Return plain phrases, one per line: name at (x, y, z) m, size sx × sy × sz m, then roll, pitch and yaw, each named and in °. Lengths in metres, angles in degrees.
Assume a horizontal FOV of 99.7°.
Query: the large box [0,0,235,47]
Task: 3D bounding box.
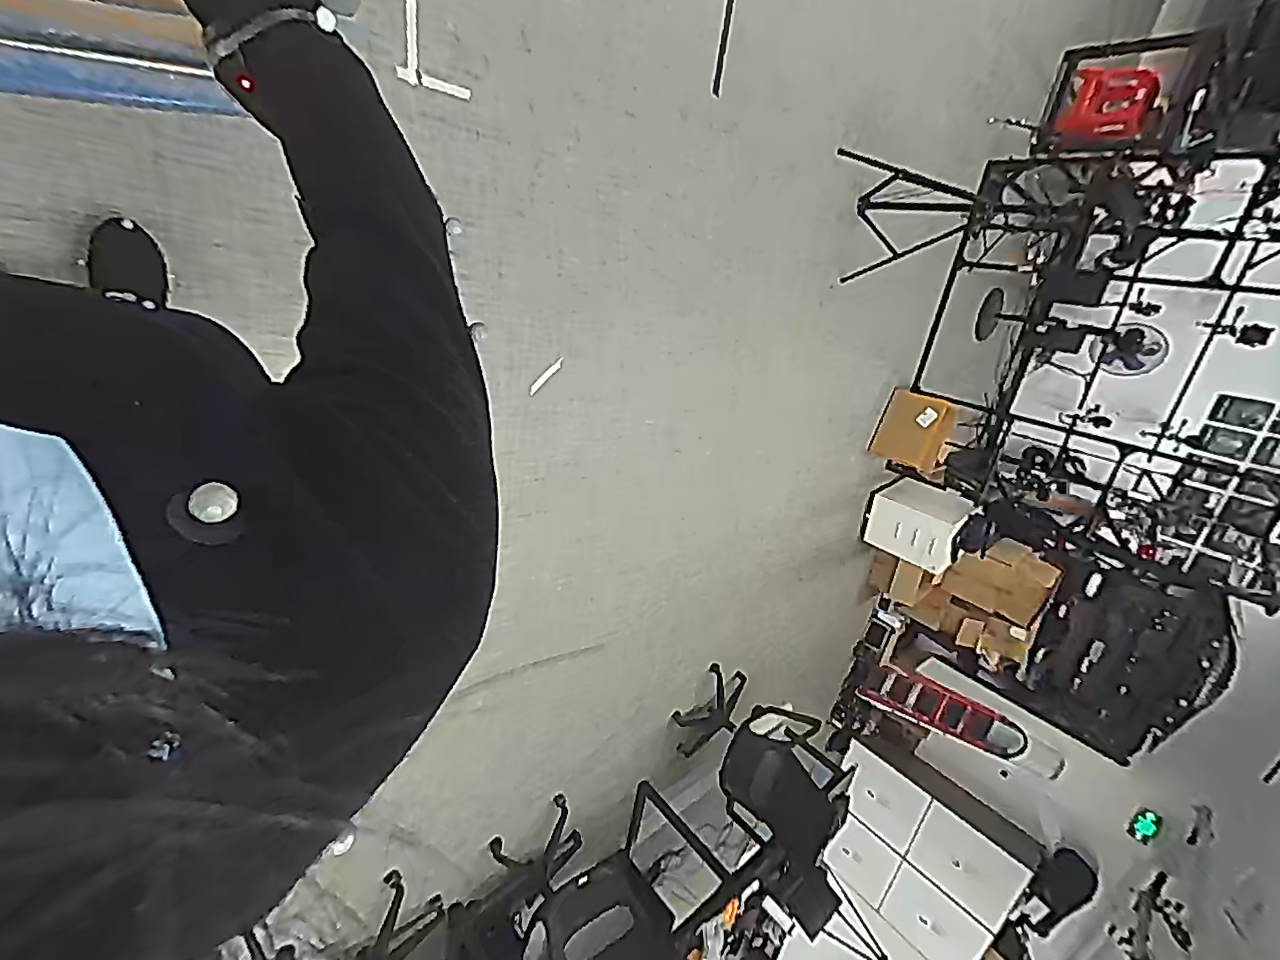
large box at (-0.755, -0.735, 0.598) m, size 0.408 × 0.320 × 0.320 m, roll -20°, pitch 125°, yaw -38°
